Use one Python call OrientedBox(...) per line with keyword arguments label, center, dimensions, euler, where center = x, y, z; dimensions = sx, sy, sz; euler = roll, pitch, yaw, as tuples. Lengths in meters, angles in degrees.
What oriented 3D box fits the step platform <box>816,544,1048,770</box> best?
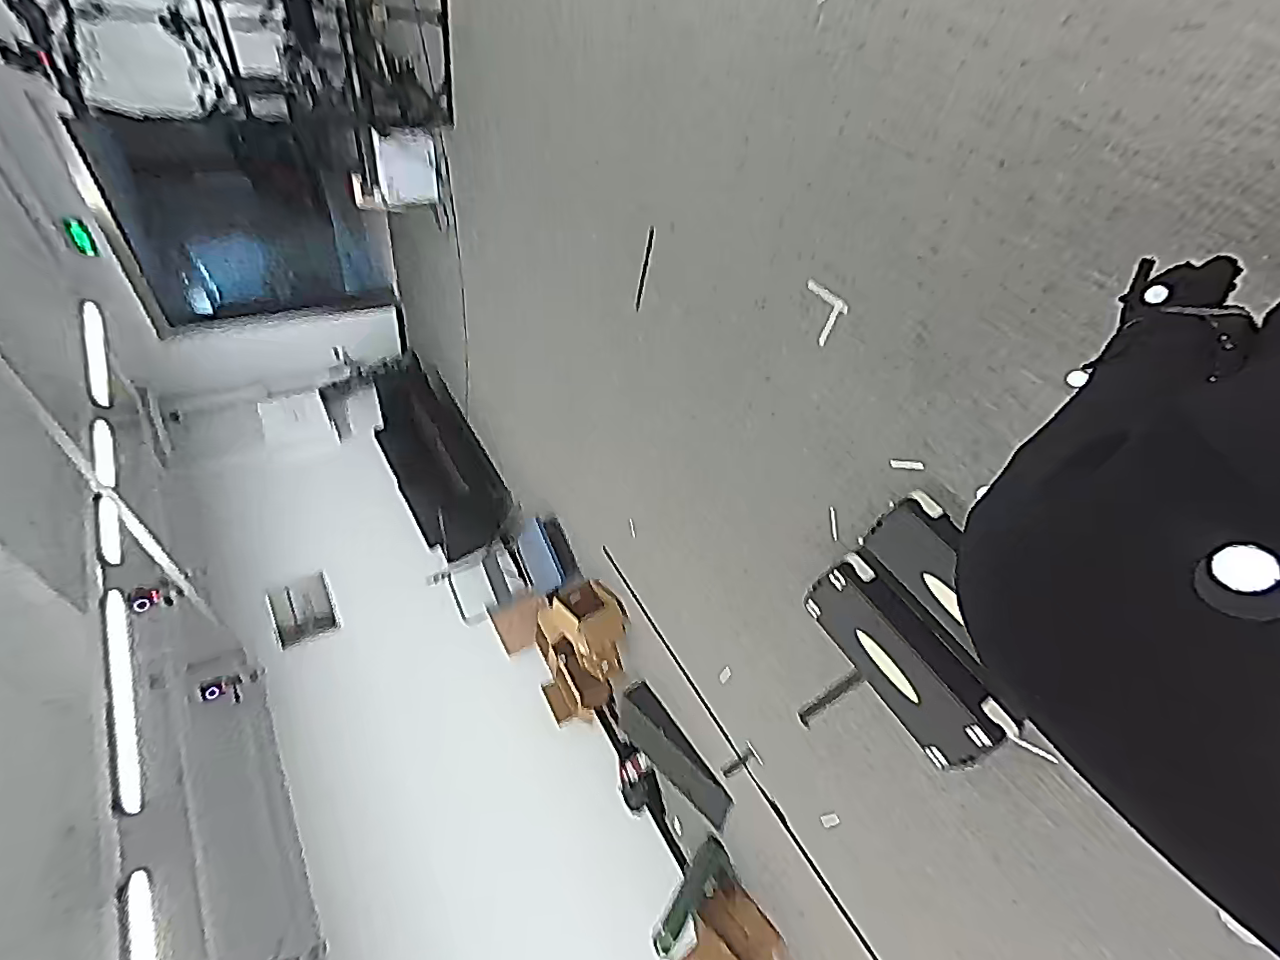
OrientedBox(label="step platform", center=(0.886, 0.549, 1.725), dimensions=(0.684, 0.204, 0.286), euler=(53, 147, 30))
